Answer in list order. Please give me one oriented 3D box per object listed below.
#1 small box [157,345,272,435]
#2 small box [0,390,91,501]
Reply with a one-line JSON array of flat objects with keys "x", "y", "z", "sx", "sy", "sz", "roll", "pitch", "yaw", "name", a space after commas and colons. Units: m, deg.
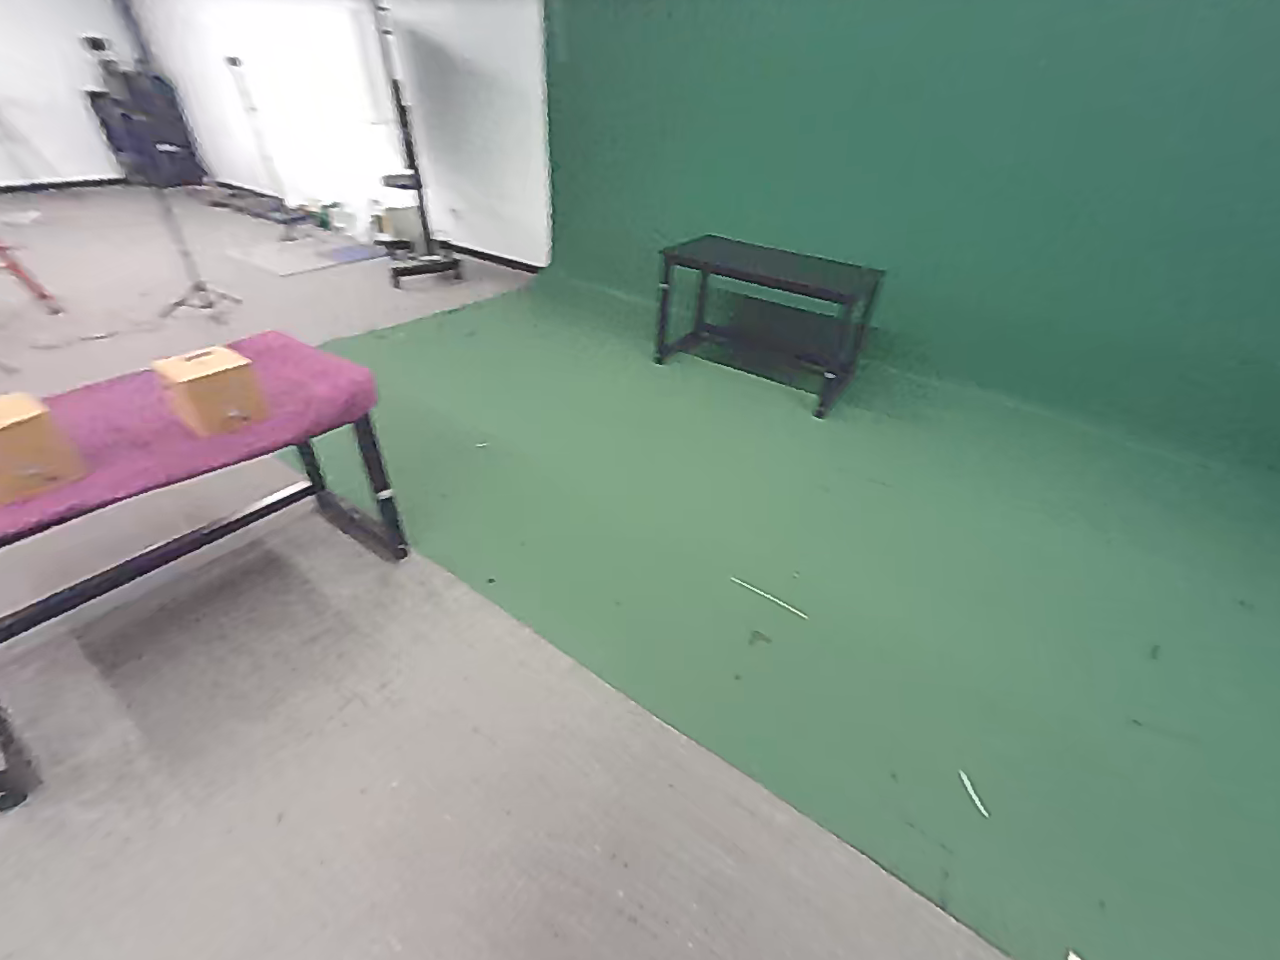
[{"x": -1.139, "y": -0.242, "z": 1.457, "sx": 0.179, "sy": 0.176, "sz": 0.168, "roll": 25, "pitch": 41, "yaw": 26, "name": "small box"}, {"x": -1.393, "y": -0.077, "z": 1.202, "sx": 0.179, "sy": 0.176, "sz": 0.168, "roll": 23, "pitch": 40, "yaw": 26, "name": "small box"}]
